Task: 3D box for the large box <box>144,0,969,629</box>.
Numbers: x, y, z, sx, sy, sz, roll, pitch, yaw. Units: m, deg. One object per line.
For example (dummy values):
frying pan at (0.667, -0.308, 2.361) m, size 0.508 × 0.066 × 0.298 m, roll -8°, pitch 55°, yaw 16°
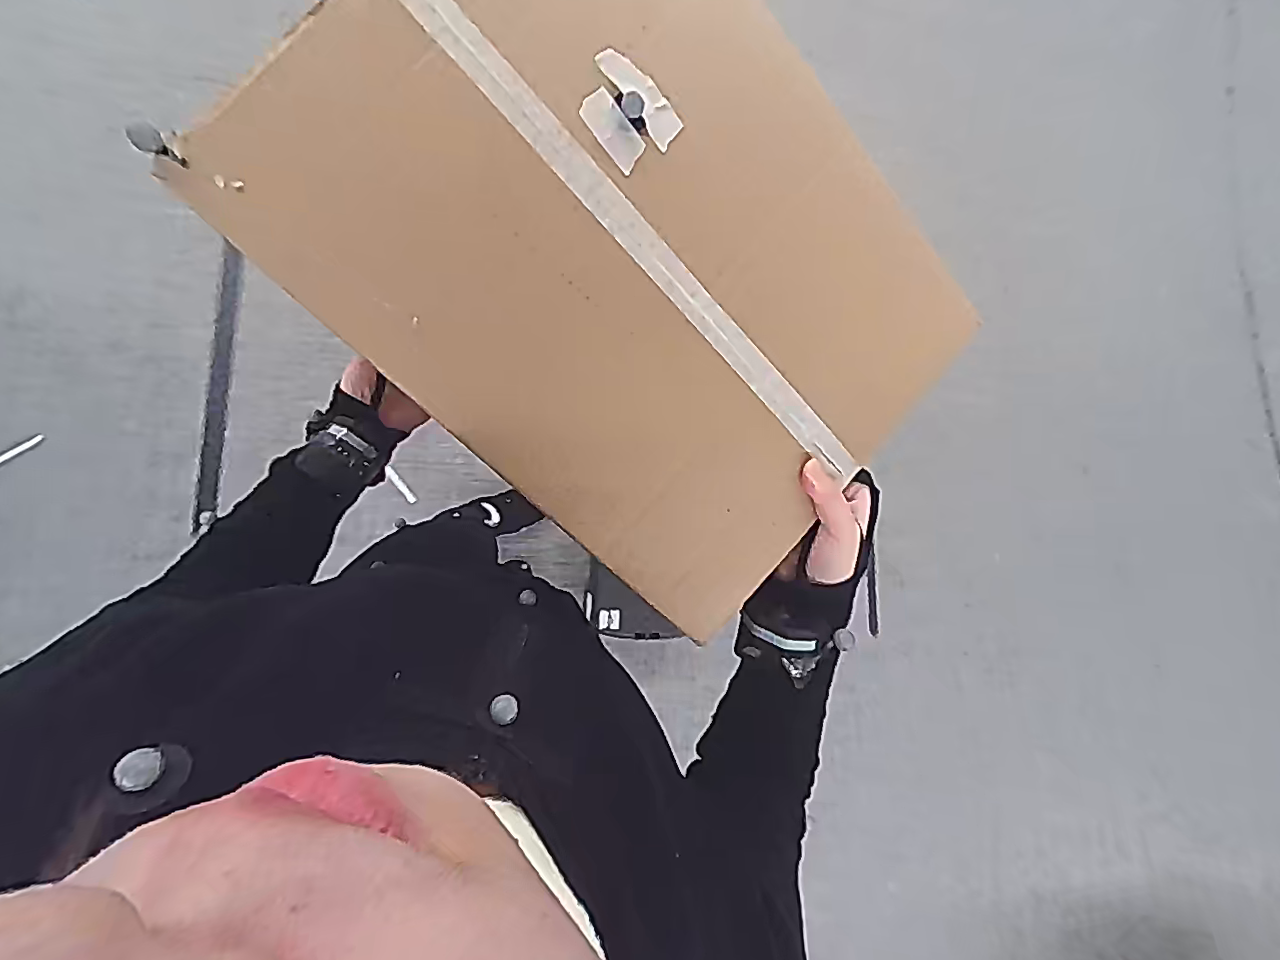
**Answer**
large box at (-0.038, -0.153, 0.467) m, size 0.408 × 0.320 × 0.320 m, roll 42°, pitch 86°, yaw -16°
